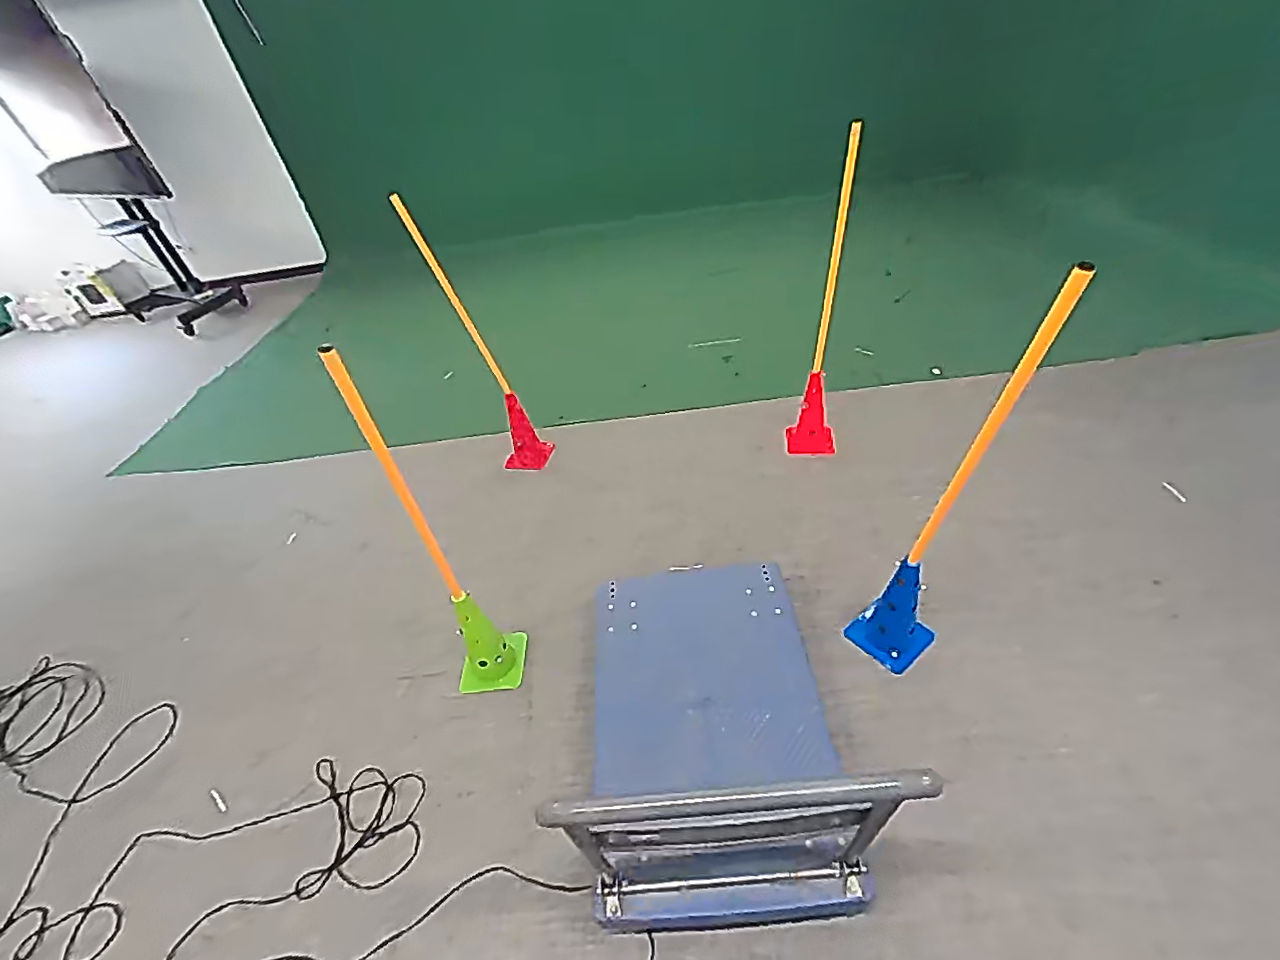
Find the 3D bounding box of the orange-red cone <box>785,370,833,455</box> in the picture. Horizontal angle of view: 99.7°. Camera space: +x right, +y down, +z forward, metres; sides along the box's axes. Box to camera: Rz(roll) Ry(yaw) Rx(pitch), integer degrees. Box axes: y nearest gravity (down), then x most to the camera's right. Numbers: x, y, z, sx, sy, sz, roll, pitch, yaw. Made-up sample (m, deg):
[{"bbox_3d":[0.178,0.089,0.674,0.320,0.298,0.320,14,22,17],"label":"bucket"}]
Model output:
[{"bbox_3d":[0.723,-0.299,2.285,0.198,0.360,0.199,0,42,13],"label":"orange-red cone"}]
